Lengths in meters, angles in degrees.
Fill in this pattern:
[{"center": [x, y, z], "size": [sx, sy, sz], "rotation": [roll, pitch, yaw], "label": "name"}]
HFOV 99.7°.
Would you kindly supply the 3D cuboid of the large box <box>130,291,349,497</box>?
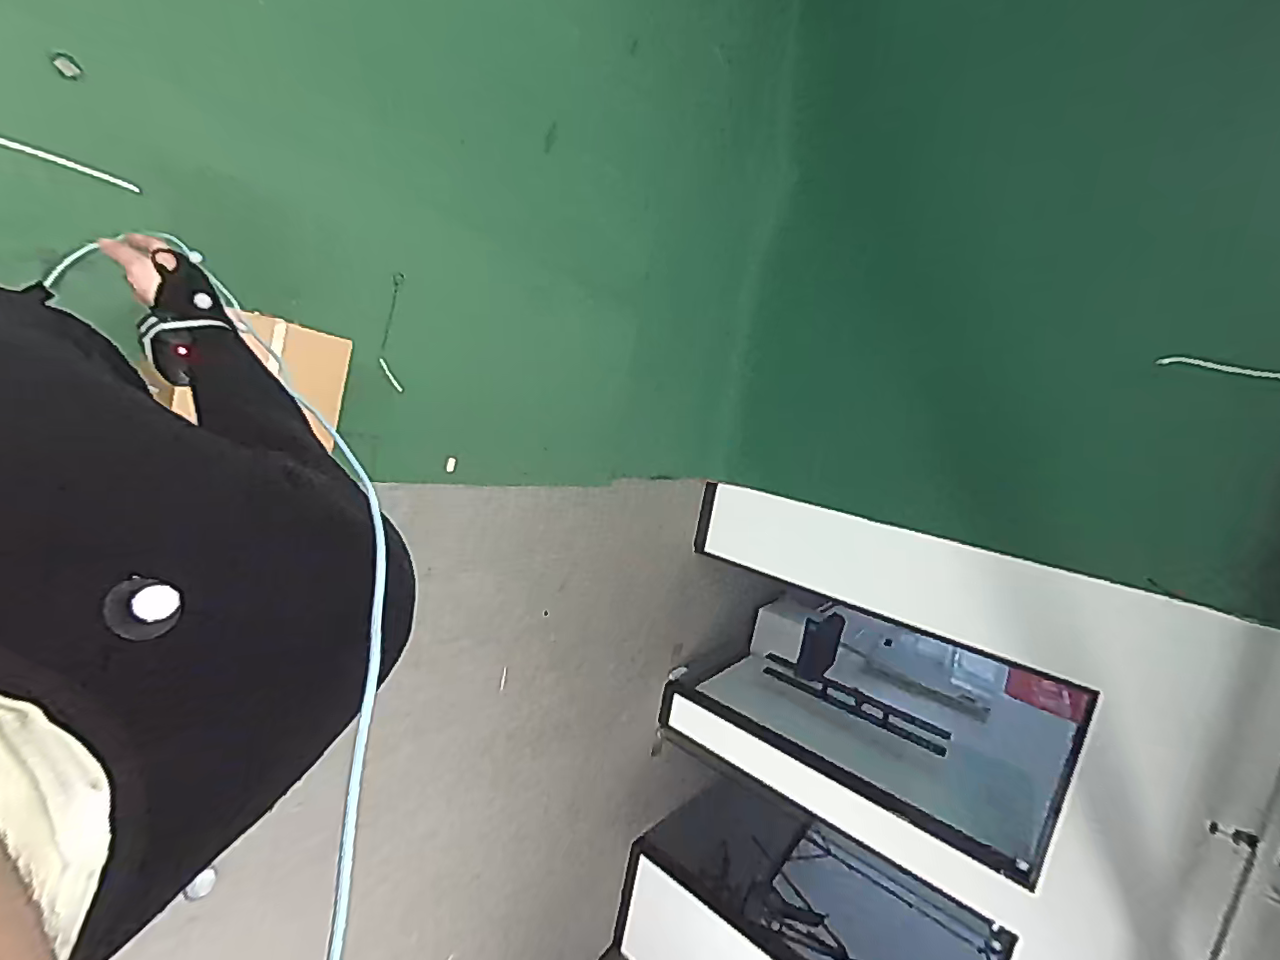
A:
[{"center": [-0.946, -0.195, 1.279], "size": [0.320, 0.320, 0.408], "rotation": [6, 99, -54], "label": "large box"}]
